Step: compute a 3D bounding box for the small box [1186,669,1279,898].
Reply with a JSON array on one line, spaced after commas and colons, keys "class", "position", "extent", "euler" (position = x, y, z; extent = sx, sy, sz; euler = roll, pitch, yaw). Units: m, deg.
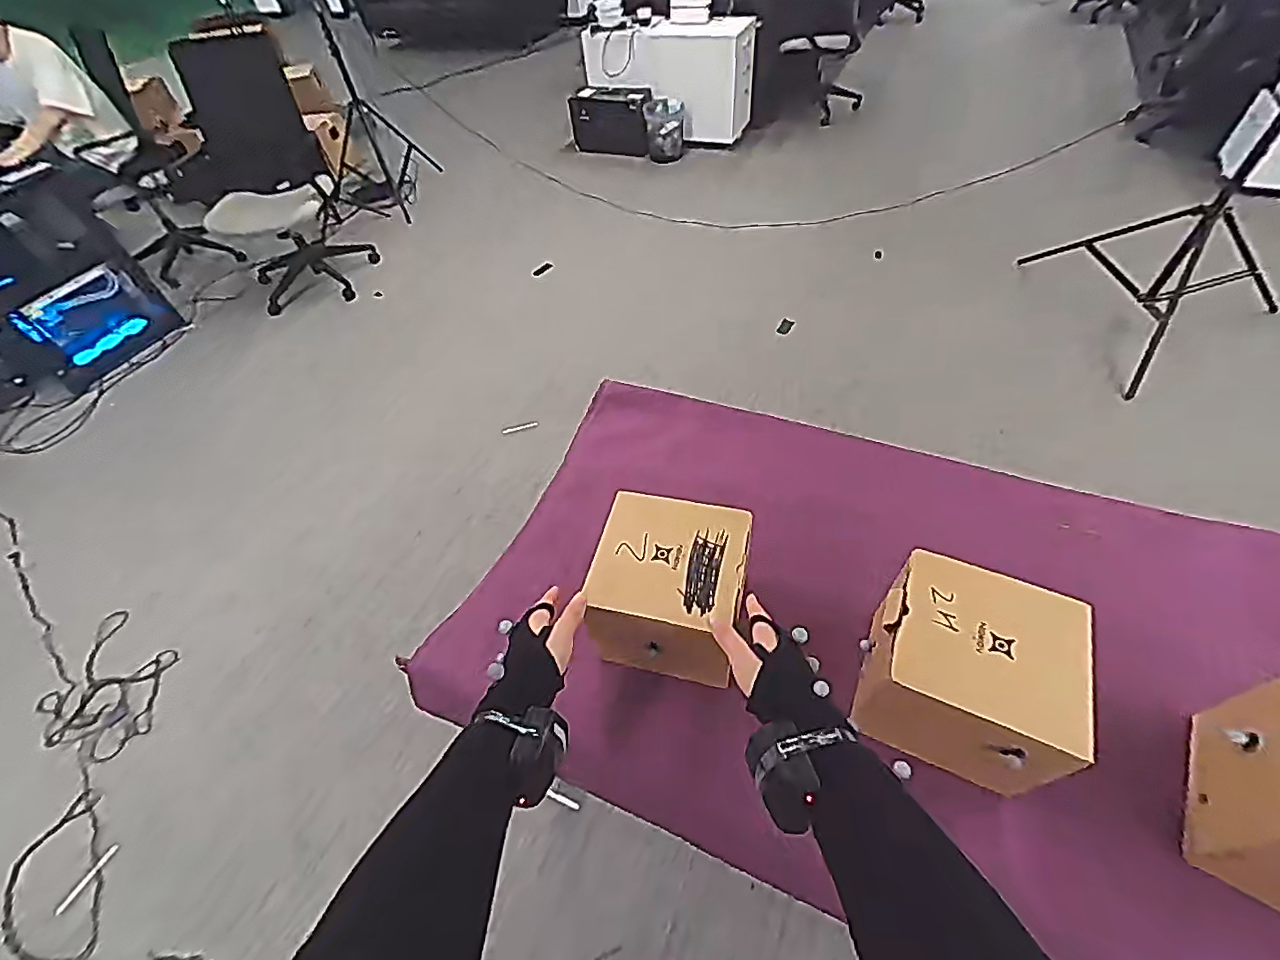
[{"class": "small box", "position": [0.657, 0.304, 0.492], "extent": [0.179, 0.176, 0.168], "euler": [24, 57, 24]}]

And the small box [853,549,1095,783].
[{"class": "small box", "position": [0.359, 0.211, 0.603], "extent": [0.179, 0.176, 0.168], "euler": [18, 54, 20]}]
